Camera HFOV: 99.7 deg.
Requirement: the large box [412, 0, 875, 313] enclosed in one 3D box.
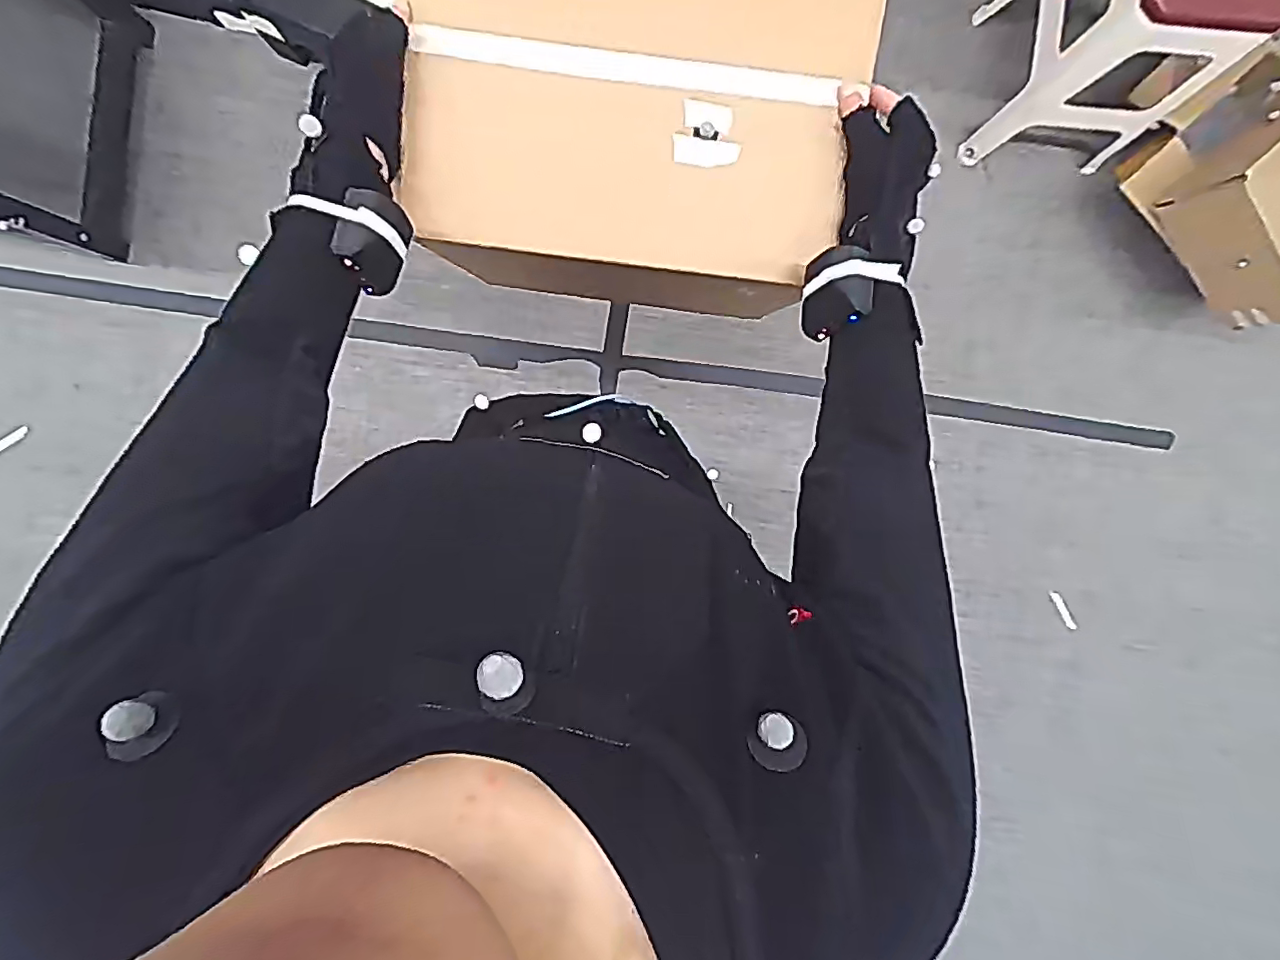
[{"bbox_3d":[-0.004,-0.385,0.624,0.408,0.320,0.320,6,102,-2],"label":"large box"}]
